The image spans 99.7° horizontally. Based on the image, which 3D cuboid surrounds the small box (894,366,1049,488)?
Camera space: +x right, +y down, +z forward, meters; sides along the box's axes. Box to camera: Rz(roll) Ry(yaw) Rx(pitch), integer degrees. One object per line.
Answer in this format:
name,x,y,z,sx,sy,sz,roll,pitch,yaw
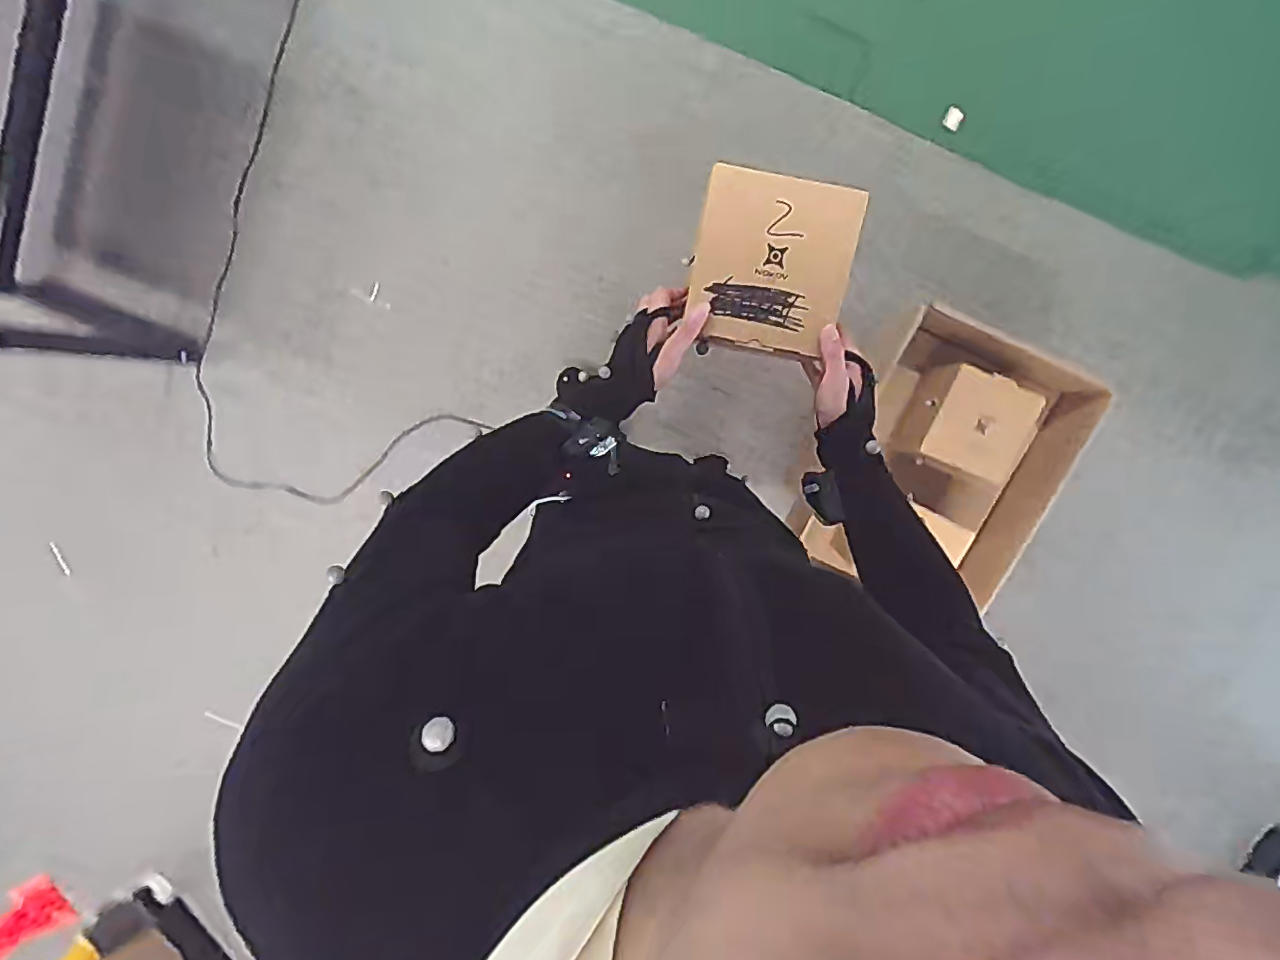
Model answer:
small box,0.635,-0.108,1.065,0.168,0.176,0.179,25,101,1
